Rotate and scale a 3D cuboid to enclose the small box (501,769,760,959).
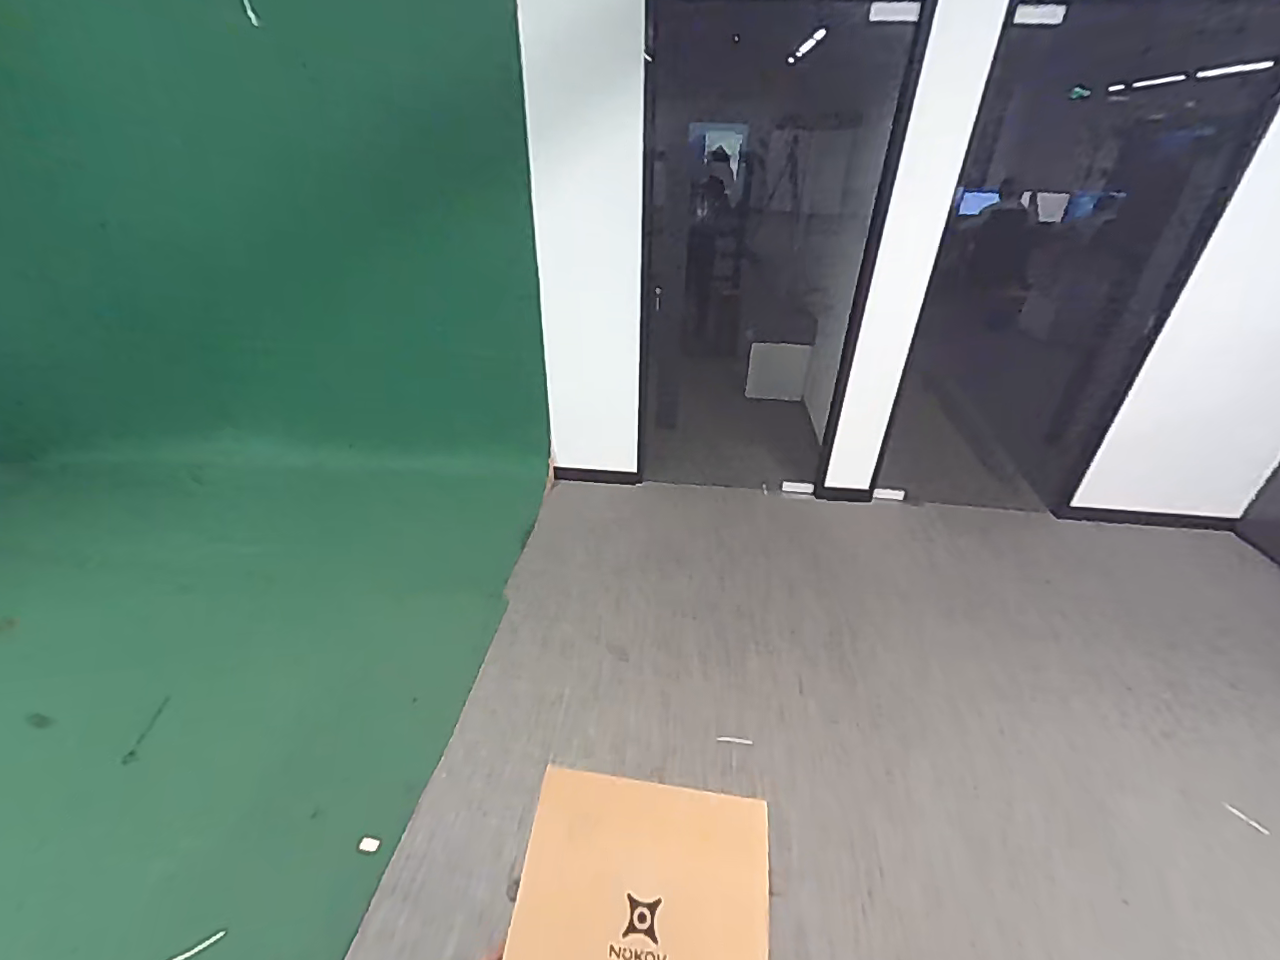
[{"bbox_3d":[-0.006,0.348,0.414,0.168,0.176,0.179,6,51,6],"label":"small box"}]
